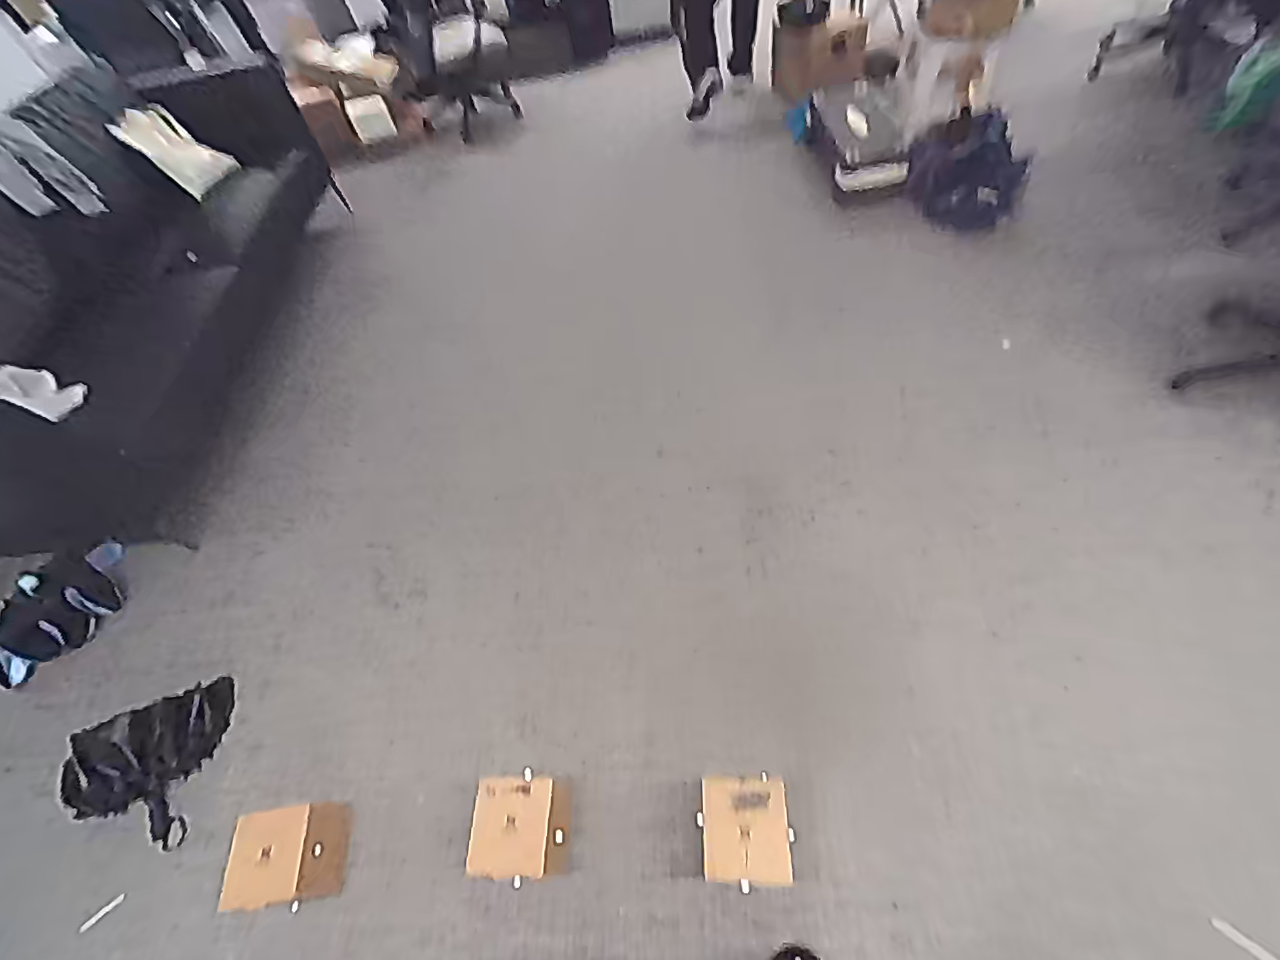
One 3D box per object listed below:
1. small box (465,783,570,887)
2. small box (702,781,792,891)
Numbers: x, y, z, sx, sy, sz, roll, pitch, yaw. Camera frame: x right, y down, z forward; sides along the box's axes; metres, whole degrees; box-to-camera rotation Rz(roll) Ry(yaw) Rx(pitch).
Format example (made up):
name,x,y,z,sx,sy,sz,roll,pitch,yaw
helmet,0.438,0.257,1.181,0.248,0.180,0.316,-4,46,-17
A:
name,x,y,z,sx,sy,sz,roll,pitch,yaw
small box,-0.256,0.770,1.178,0.168,0.176,0.179,-3,55,7
small box,0.215,0.734,1.119,0.168,0.176,0.179,-4,56,8
